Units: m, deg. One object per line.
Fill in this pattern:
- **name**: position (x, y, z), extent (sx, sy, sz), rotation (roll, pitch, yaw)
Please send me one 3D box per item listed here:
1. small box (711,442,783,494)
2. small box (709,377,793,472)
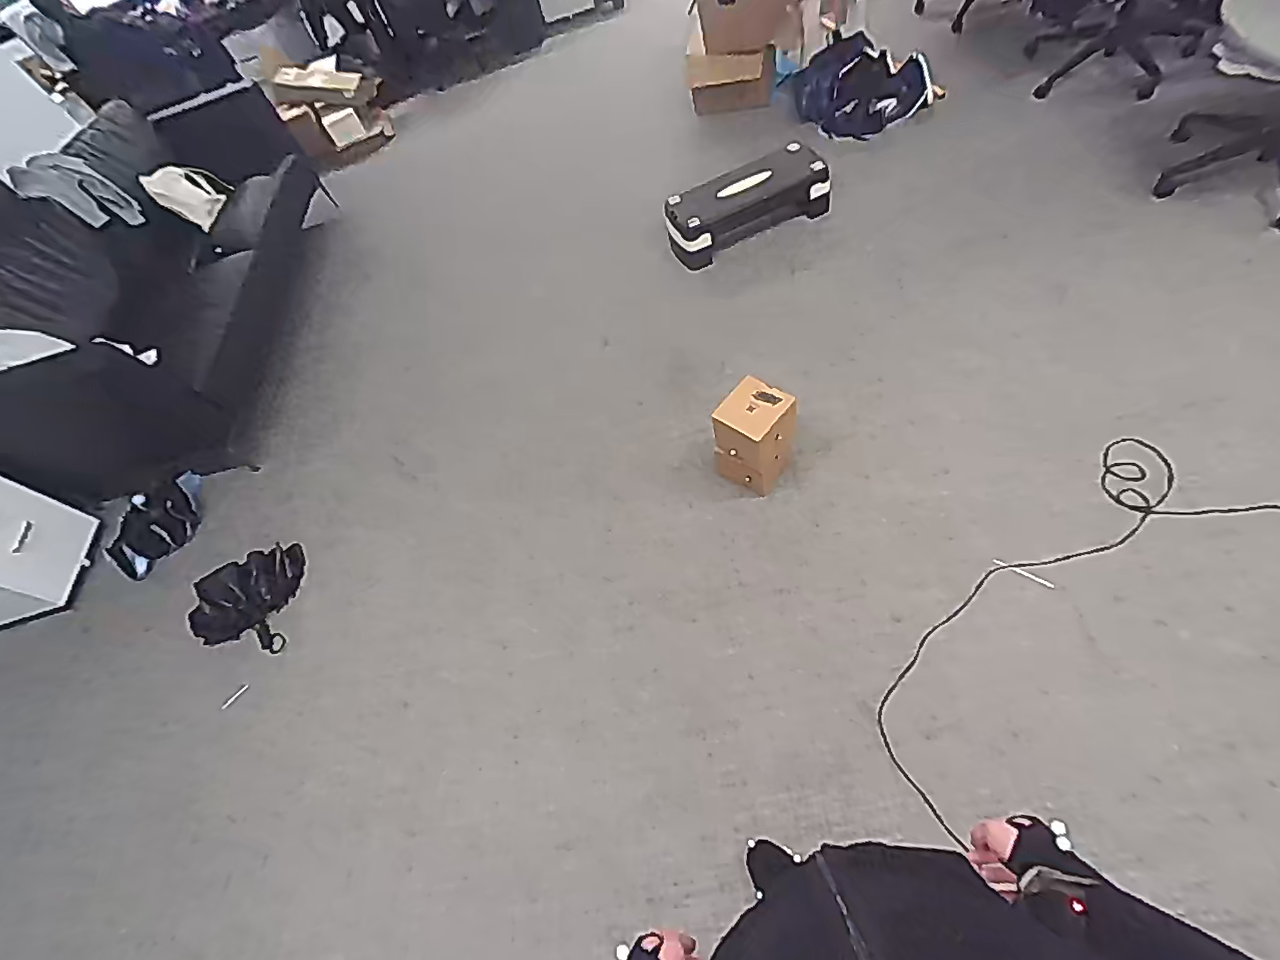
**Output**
- **small box**: position (0.347, -0.084, 1.714), extent (0.168, 0.176, 0.179), rotation (26, 68, 27)
- **small box**: position (0.323, -0.159, 1.569), extent (0.168, 0.176, 0.179), rotation (34, 74, 30)
